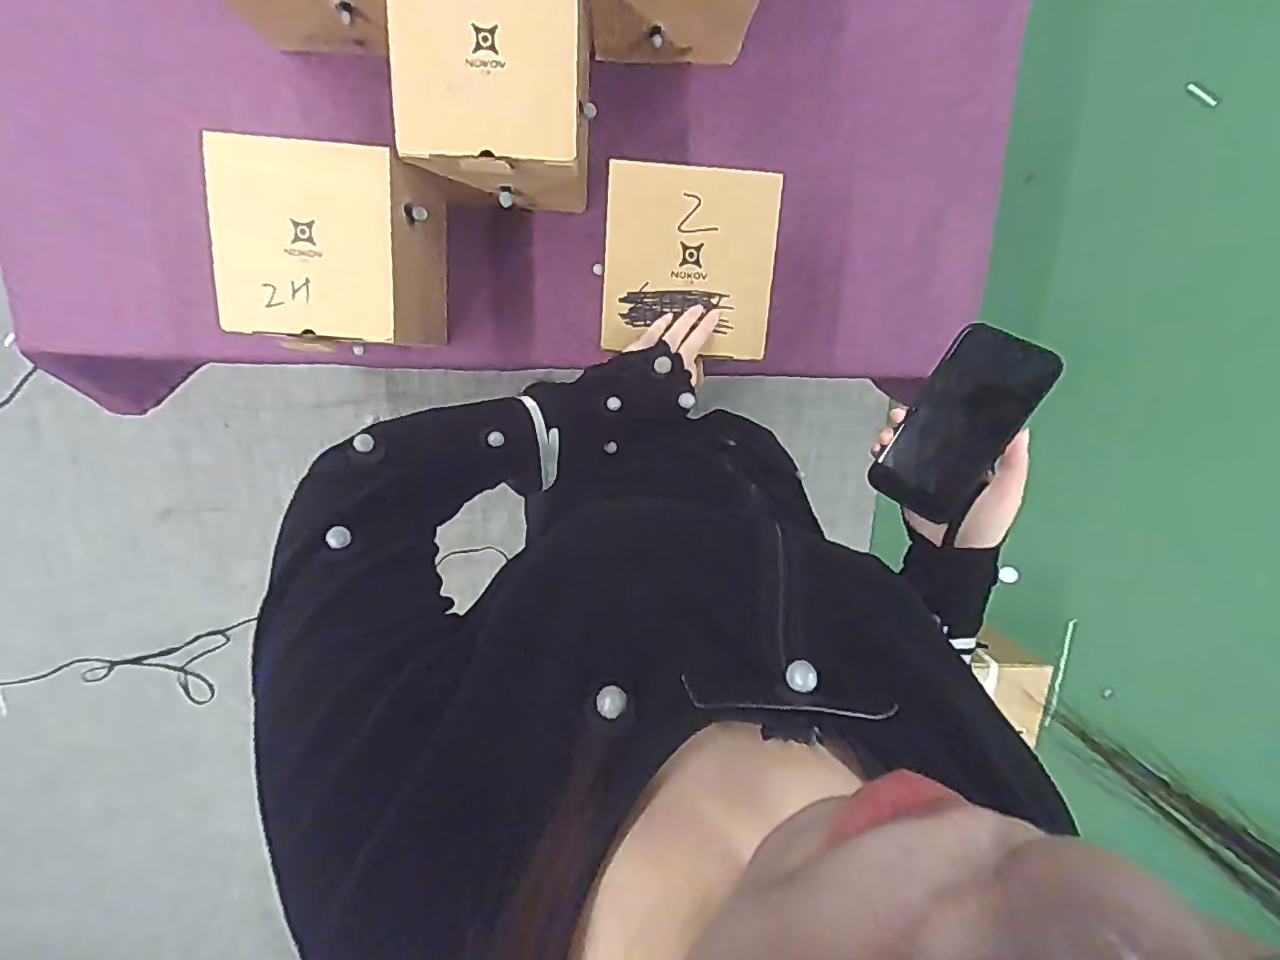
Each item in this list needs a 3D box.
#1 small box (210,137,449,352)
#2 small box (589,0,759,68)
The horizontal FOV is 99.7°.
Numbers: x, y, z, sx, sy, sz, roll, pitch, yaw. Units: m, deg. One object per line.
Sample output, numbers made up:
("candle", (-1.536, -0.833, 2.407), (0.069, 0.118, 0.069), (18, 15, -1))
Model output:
("small box", (-0.316, -0.236, 0.586), (0.168, 0.176, 0.179), (4, 102, -2))
("small box", (0.031, -0.547, 0.529), (0.168, 0.176, 0.179), (-1, 104, -2))
